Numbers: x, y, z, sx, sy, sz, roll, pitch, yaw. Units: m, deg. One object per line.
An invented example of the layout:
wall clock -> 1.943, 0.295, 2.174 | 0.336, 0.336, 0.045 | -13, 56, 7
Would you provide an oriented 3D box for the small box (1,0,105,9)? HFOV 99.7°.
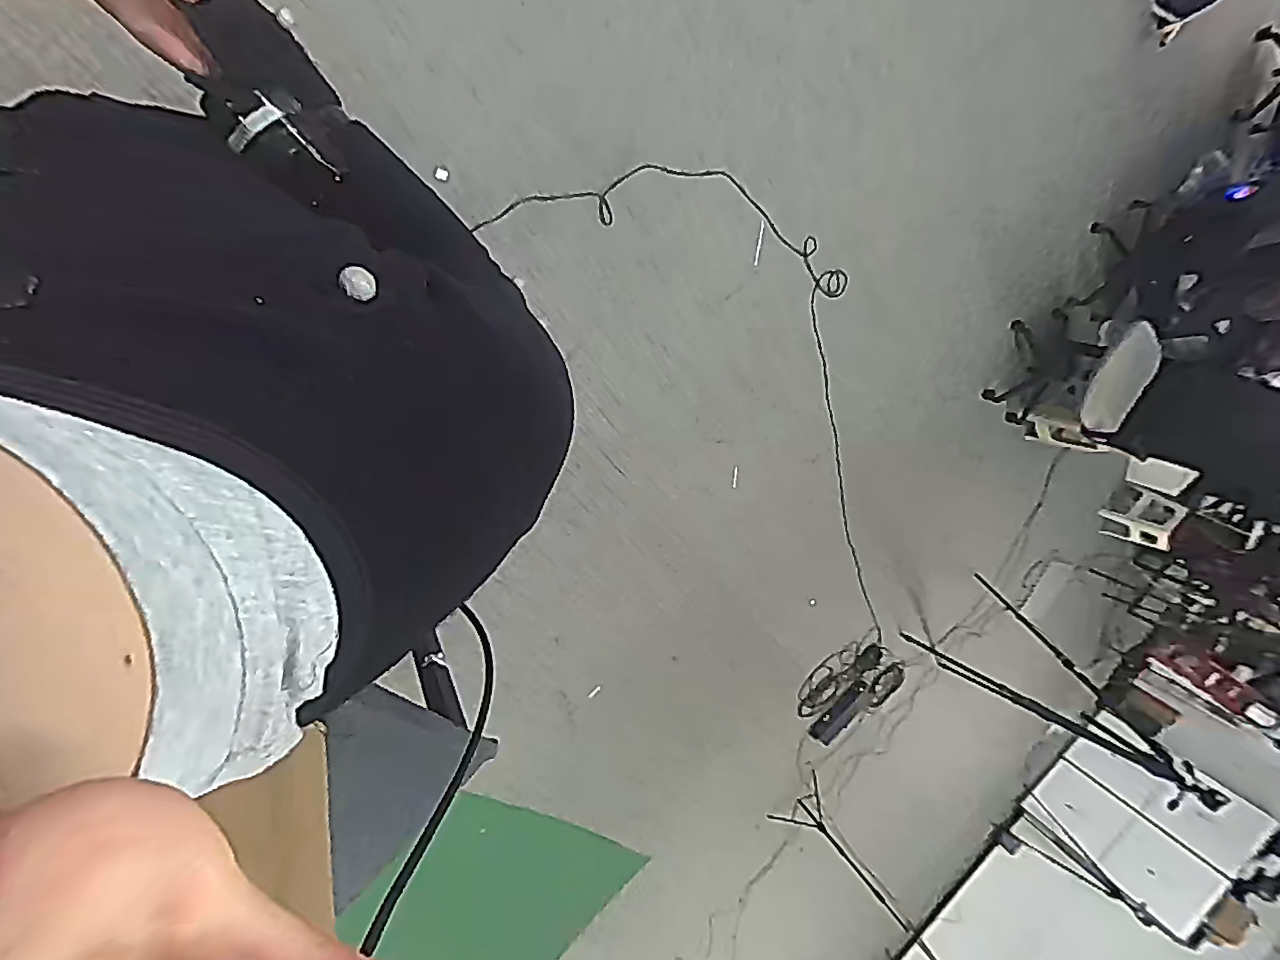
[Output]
small box -> -0.345, -0.302, 0.198 | 0.168, 0.176, 0.179 | -19, 132, -29
